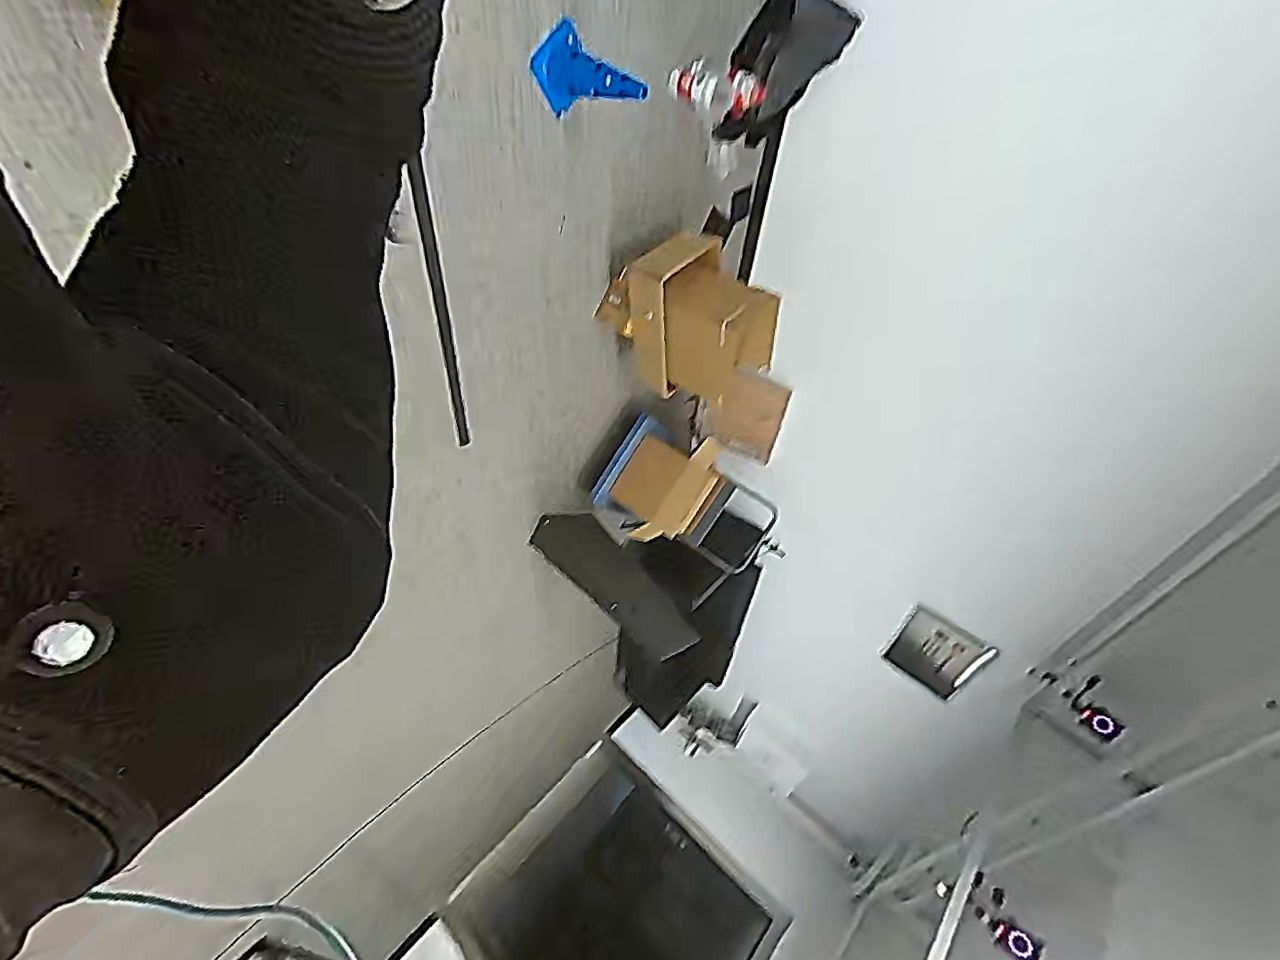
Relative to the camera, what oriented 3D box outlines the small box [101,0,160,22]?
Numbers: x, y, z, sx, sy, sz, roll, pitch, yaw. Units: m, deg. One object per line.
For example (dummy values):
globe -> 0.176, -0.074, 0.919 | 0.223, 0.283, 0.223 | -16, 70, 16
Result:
small box -> -0.865, -0.920, 0.945 | 0.179, 0.176, 0.168 | -38, 149, -31
